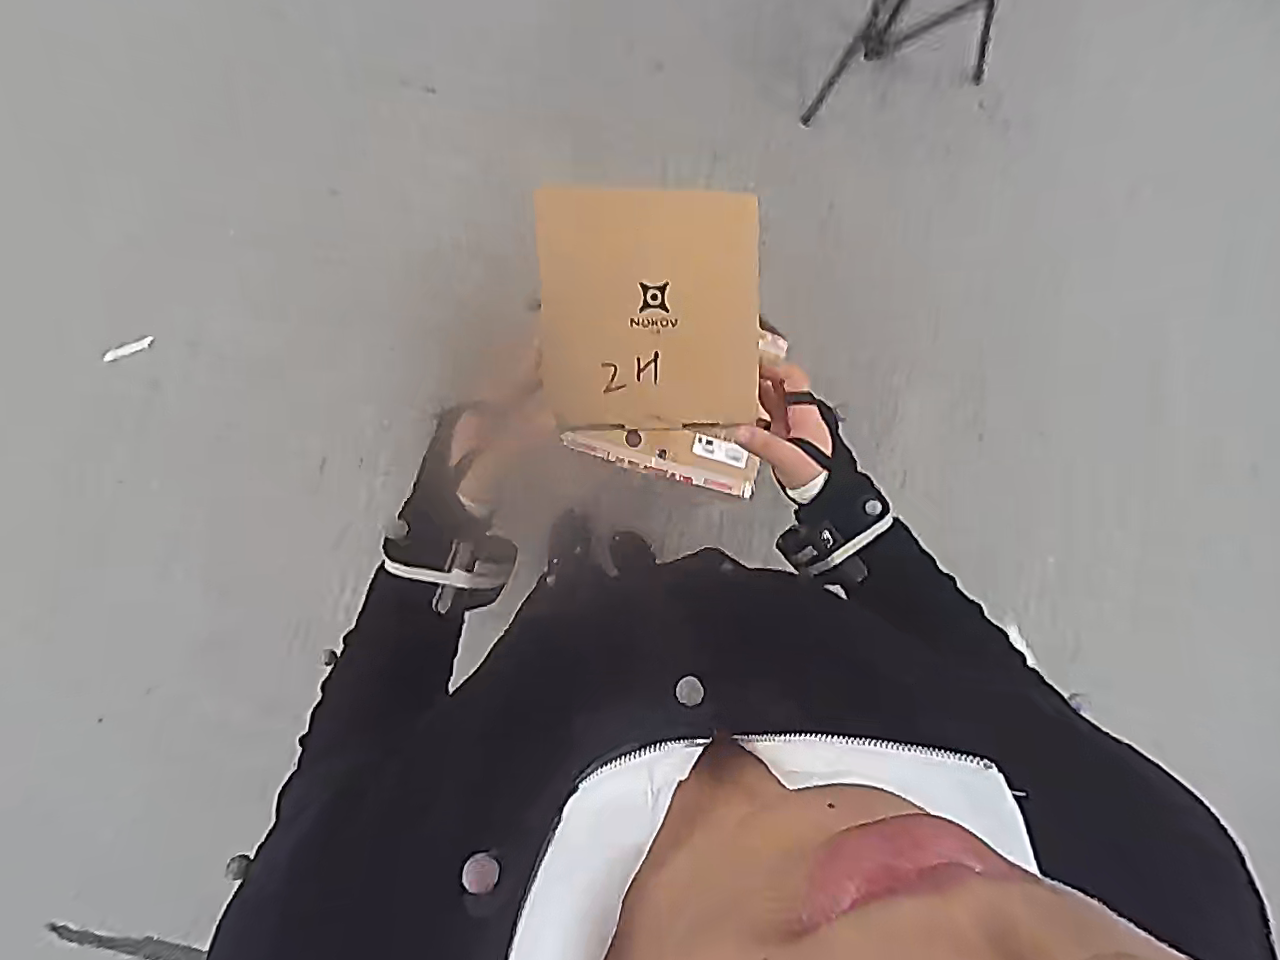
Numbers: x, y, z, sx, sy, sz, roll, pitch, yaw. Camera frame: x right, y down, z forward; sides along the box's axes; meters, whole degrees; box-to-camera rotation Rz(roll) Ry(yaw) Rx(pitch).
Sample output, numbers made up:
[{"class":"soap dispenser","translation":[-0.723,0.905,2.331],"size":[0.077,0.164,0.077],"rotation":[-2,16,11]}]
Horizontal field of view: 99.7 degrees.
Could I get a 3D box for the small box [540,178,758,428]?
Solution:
[{"class":"small box","translation":[-0.003,-0.137,0.482],"size":[0.168,0.176,0.179],"rotation":[-2,95,-8]}]
